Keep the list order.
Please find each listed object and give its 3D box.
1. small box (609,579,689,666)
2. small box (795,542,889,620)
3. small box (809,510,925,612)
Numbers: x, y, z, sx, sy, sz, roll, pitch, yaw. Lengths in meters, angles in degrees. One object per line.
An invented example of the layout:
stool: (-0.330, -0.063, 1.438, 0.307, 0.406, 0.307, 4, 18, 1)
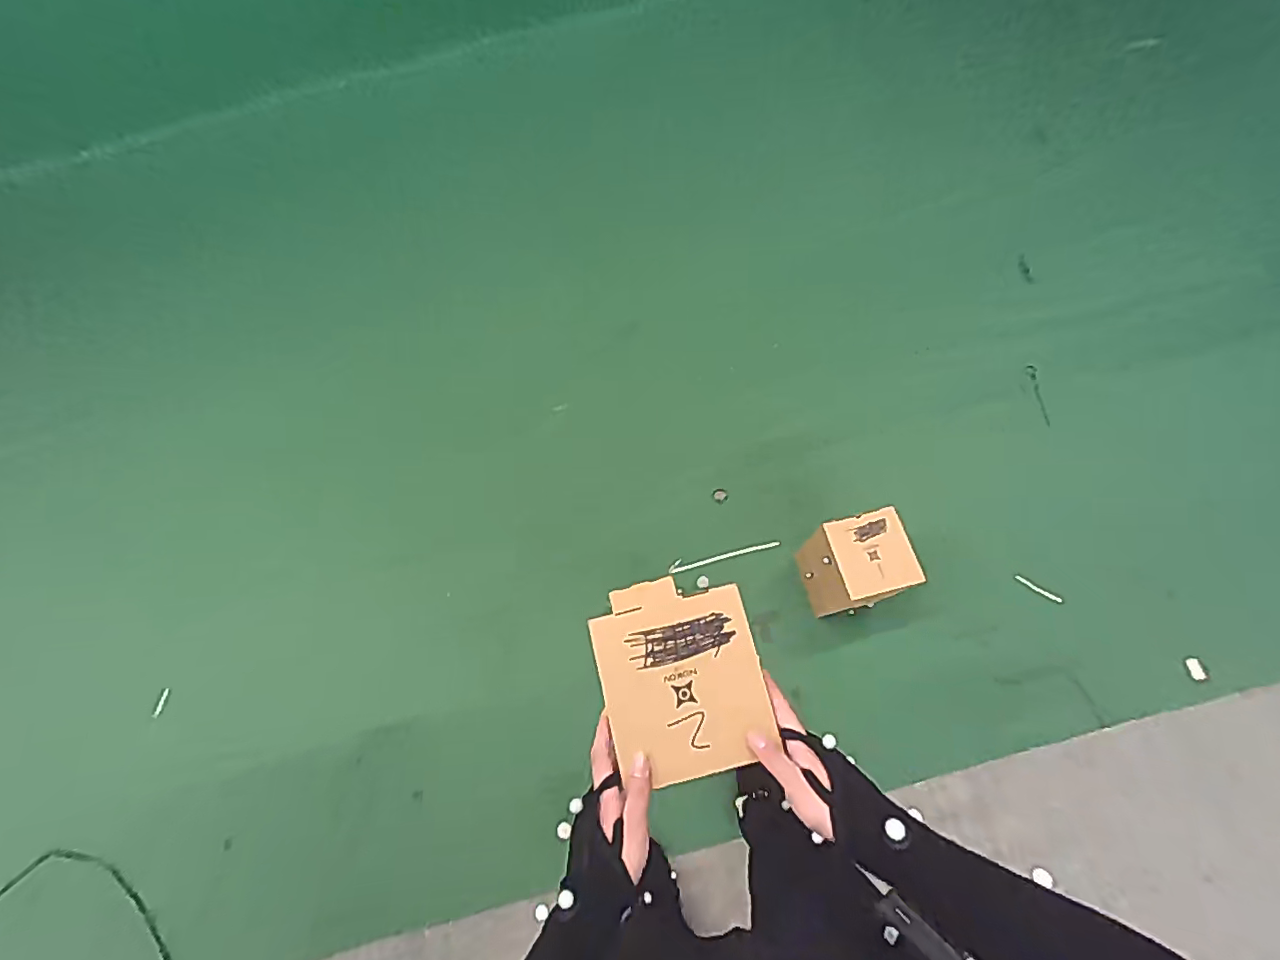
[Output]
small box: (0.027, 0.370, 1.384, 0.168, 0.176, 0.179, -15, 68, -1)
small box: (0.515, 0.249, 1.391, 0.168, 0.176, 0.179, -13, 69, -1)
small box: (0.506, 0.190, 1.238, 0.168, 0.176, 0.179, -14, 69, -1)
